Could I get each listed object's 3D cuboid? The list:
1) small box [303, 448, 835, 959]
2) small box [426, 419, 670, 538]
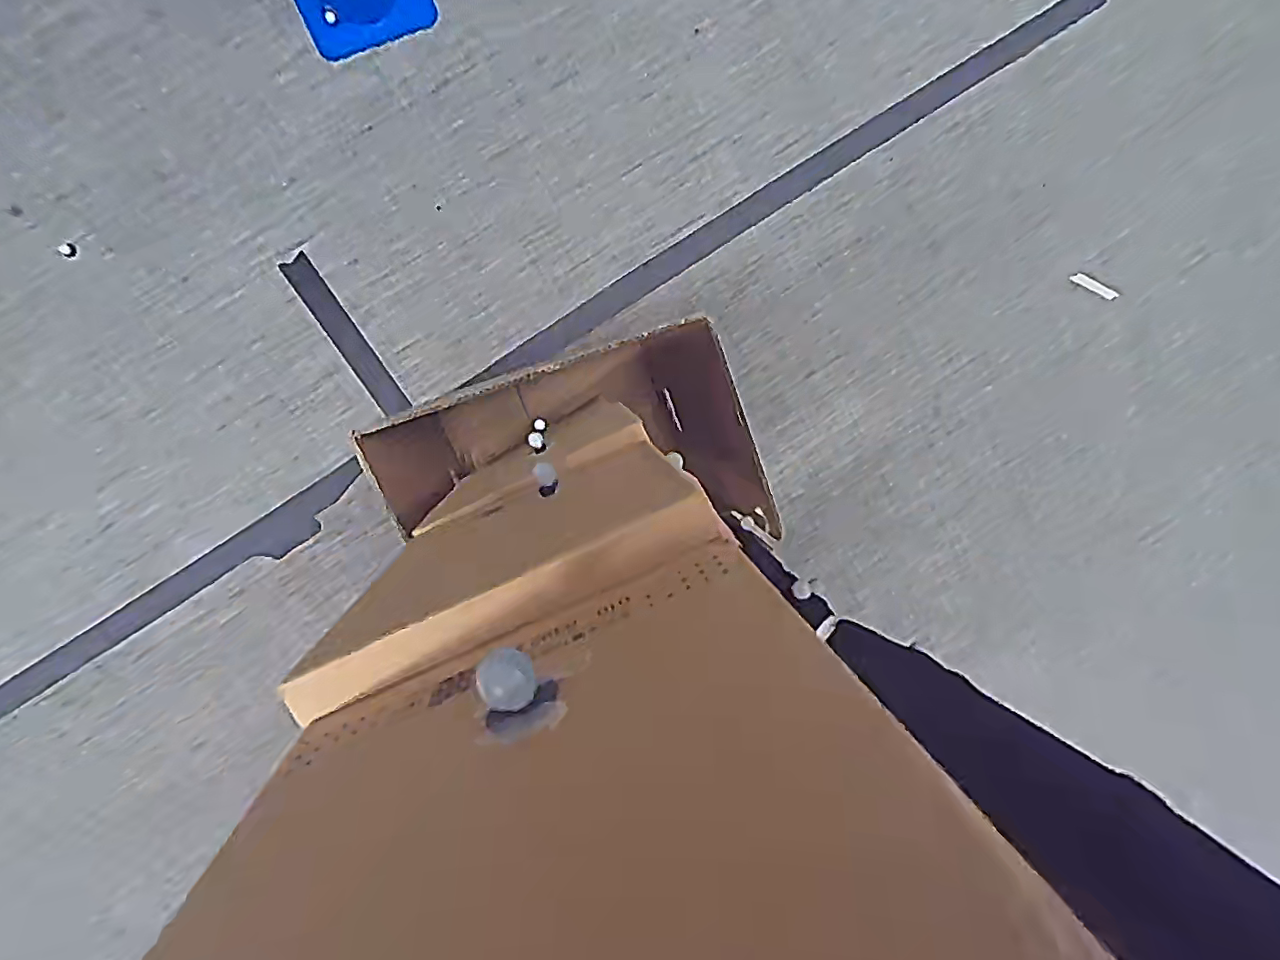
[{"bbox_3d":[-0.027,0.098,0.296,0.168,0.176,0.179,-24,103,-2],"label":"small box"},{"bbox_3d":[-0.046,0.057,0.453,0.168,0.176,0.179,-26,104,-1],"label":"small box"}]
